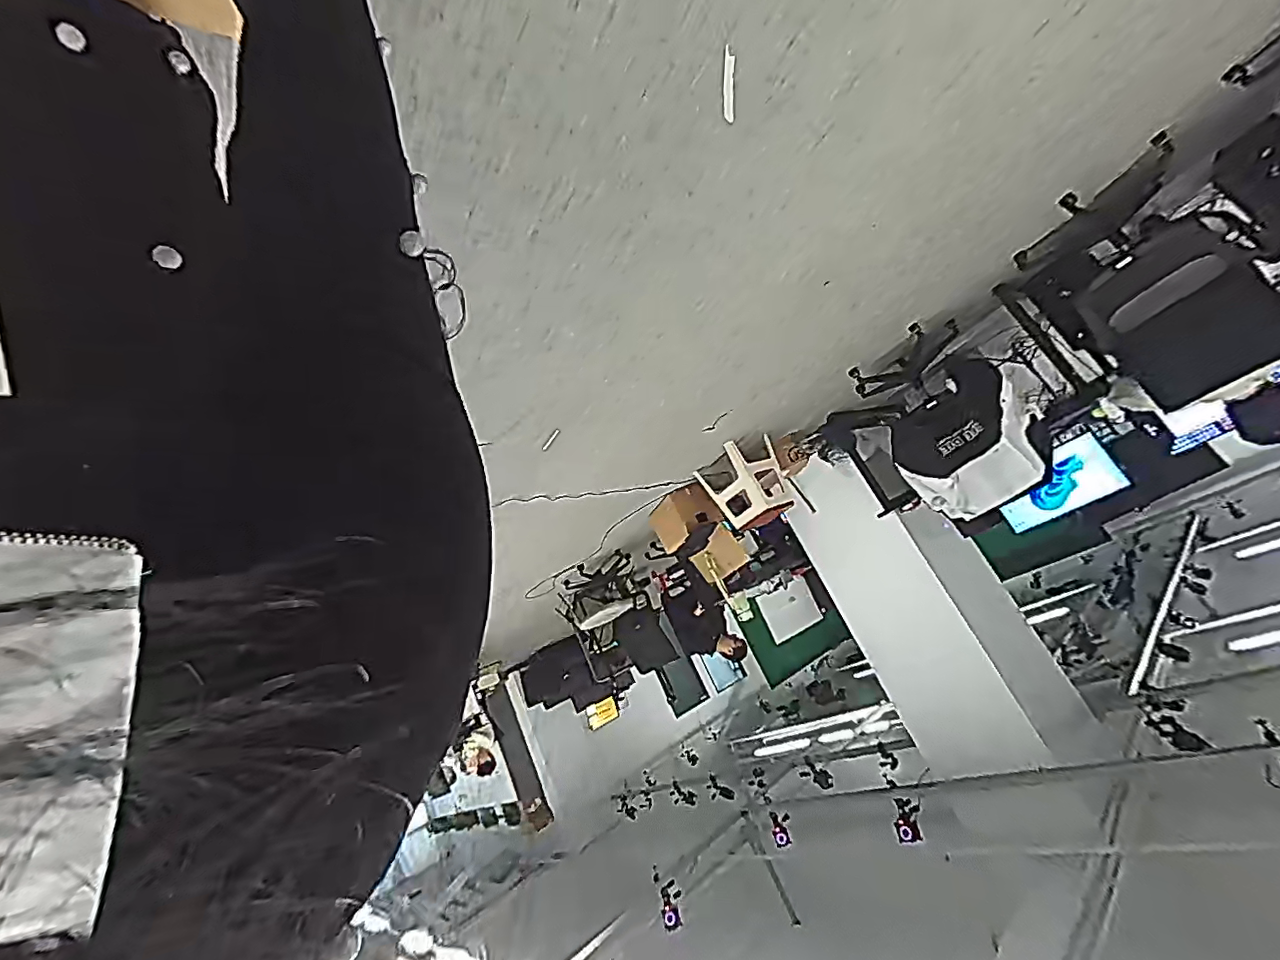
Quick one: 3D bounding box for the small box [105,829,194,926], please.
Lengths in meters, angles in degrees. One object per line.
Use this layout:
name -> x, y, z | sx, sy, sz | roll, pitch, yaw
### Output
small box -> -1.463, 1.181, 1.614 | 0.179, 0.176, 0.168 | -12, 158, -39
